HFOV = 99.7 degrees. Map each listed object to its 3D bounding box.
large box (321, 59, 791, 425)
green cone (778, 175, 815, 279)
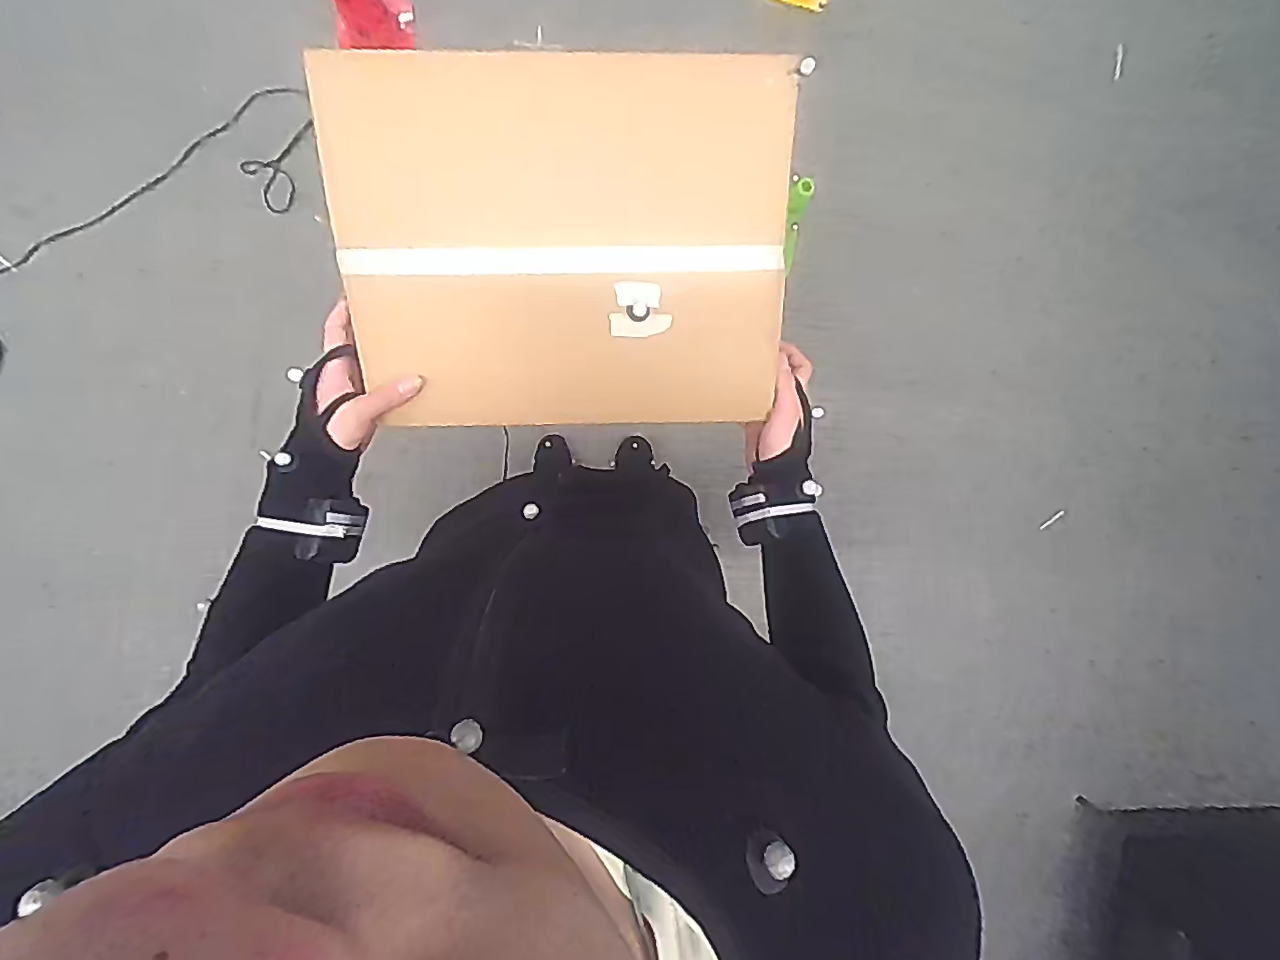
[{"bbox_3d":[-0.074,-0.257,0.644,0.408,0.320,0.320,-2,111,-3],"label":"large box"},{"bbox_3d":[0.375,-0.698,1.434,0.200,0.368,0.202,8,93,-6],"label":"green cone"}]
